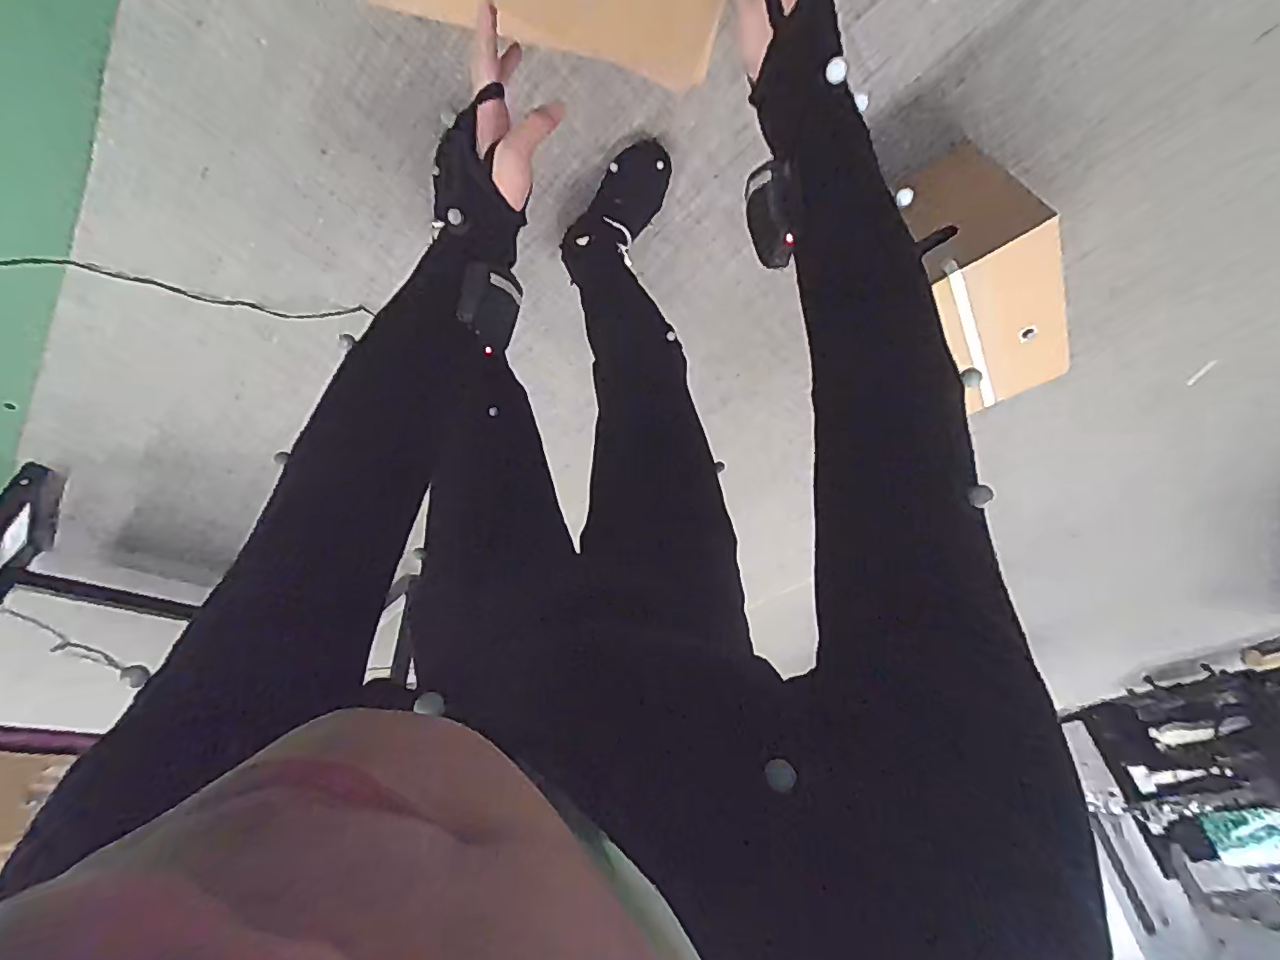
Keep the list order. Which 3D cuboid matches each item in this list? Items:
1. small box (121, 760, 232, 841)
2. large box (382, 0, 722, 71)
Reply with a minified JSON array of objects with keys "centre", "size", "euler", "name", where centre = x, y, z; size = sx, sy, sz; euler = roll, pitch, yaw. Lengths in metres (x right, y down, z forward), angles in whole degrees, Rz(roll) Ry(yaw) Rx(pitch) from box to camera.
[{"centre":[-1.242,0.867,1.460],"size":[0.179,0.176,0.168],"euler":[-32,134,32],"name":"small box"},{"centre":[-0.092,-0.727,0.602],"size":[0.408,0.320,0.320],"euler":[5,141,-12],"name":"large box"}]
